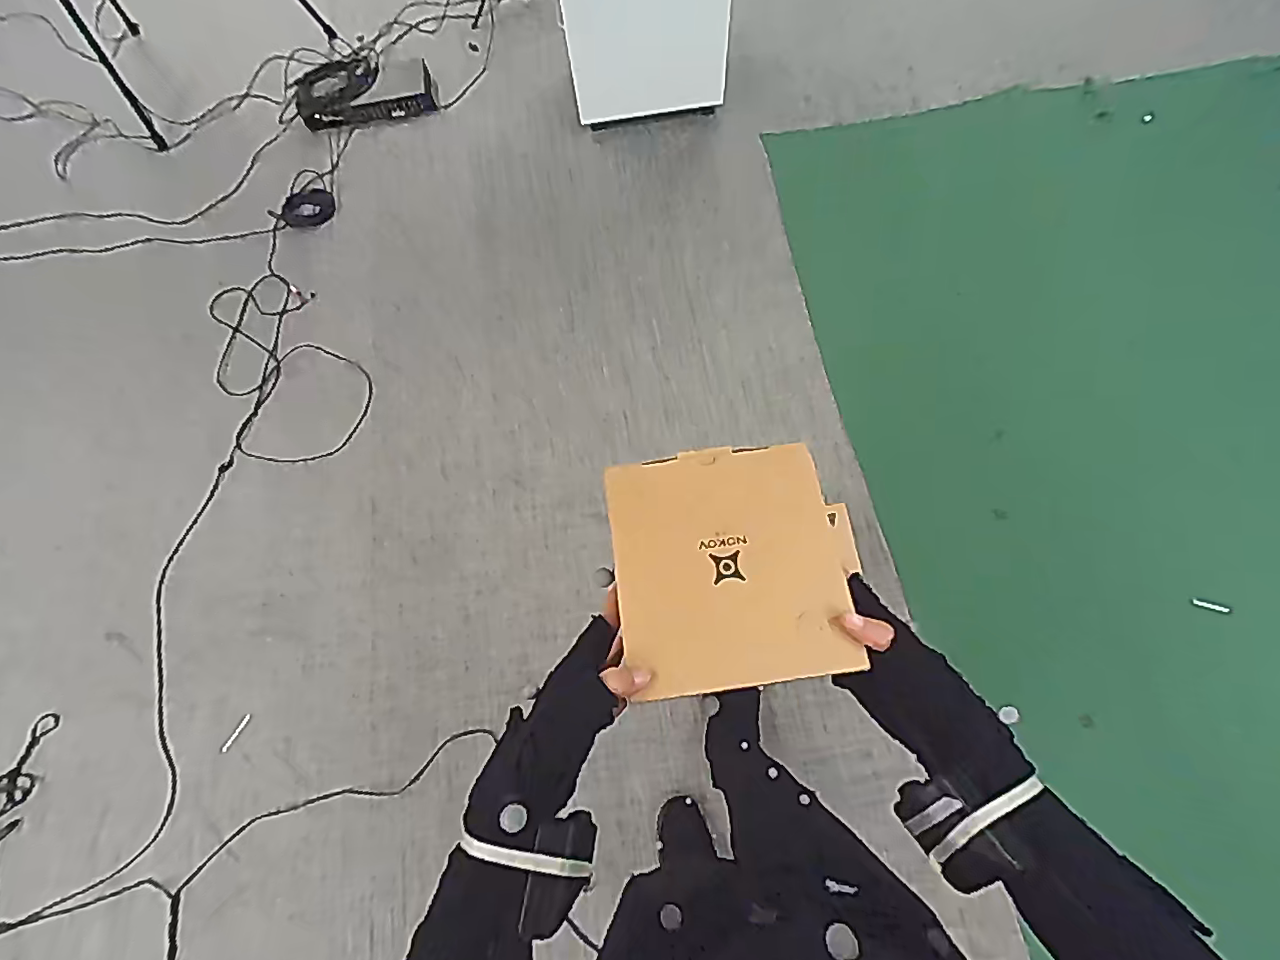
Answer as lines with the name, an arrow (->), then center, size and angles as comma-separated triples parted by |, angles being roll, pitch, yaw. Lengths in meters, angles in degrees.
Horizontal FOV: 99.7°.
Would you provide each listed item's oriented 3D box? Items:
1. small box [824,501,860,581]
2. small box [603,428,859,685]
small box -> 0.408, 0.165, 1.312 | 0.168, 0.176, 0.179 | -7, 70, 1
small box -> 0.063, 0.078, 0.473 | 0.168, 0.176, 0.179 | -7, 66, -2
